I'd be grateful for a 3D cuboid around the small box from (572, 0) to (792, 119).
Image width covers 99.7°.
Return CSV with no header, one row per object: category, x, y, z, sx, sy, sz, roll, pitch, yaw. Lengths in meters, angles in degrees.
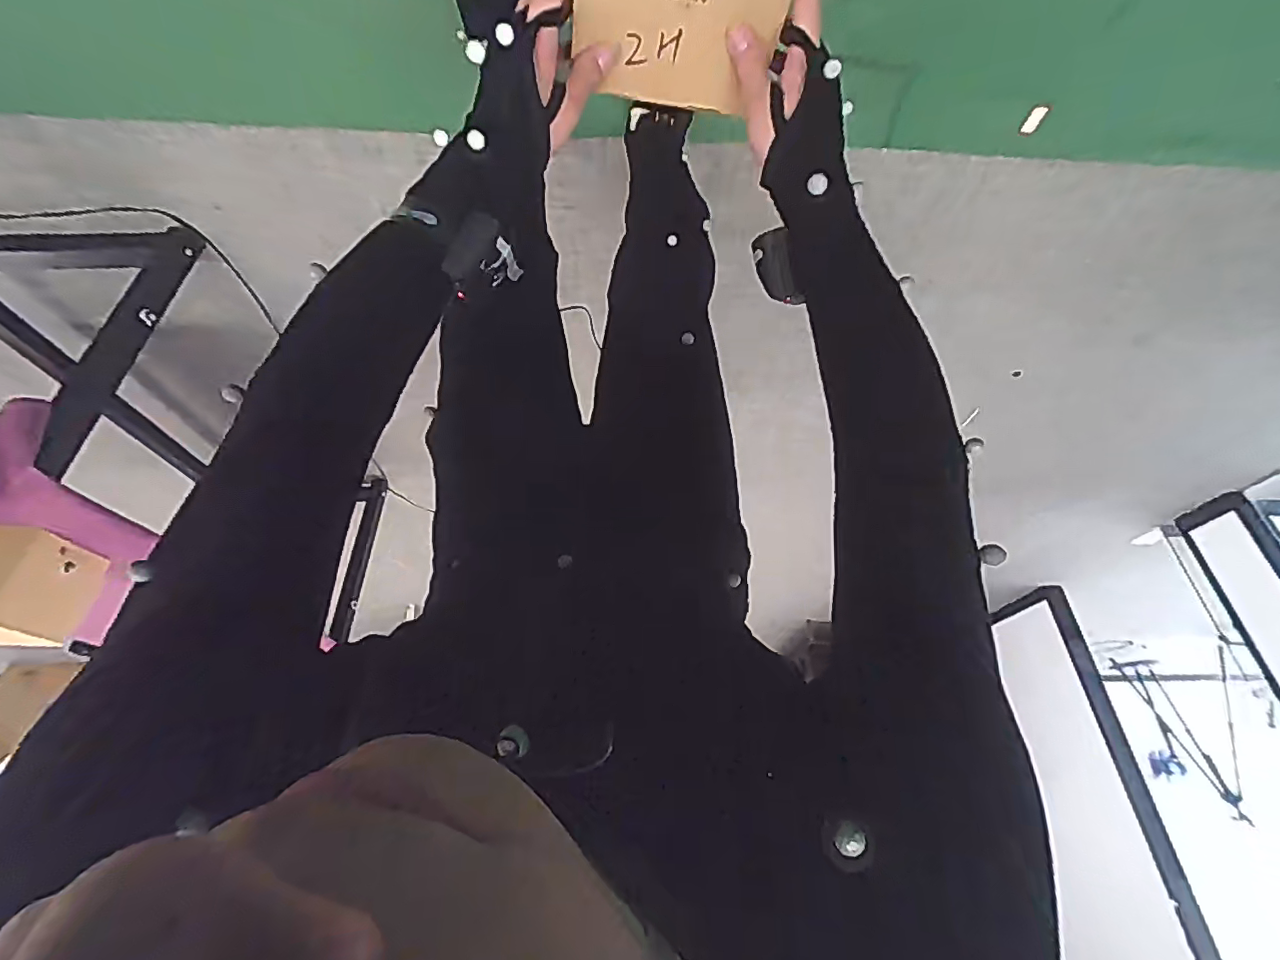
small box,0.033,-0.441,0.439,0.168,0.176,0.179,3,149,-10
